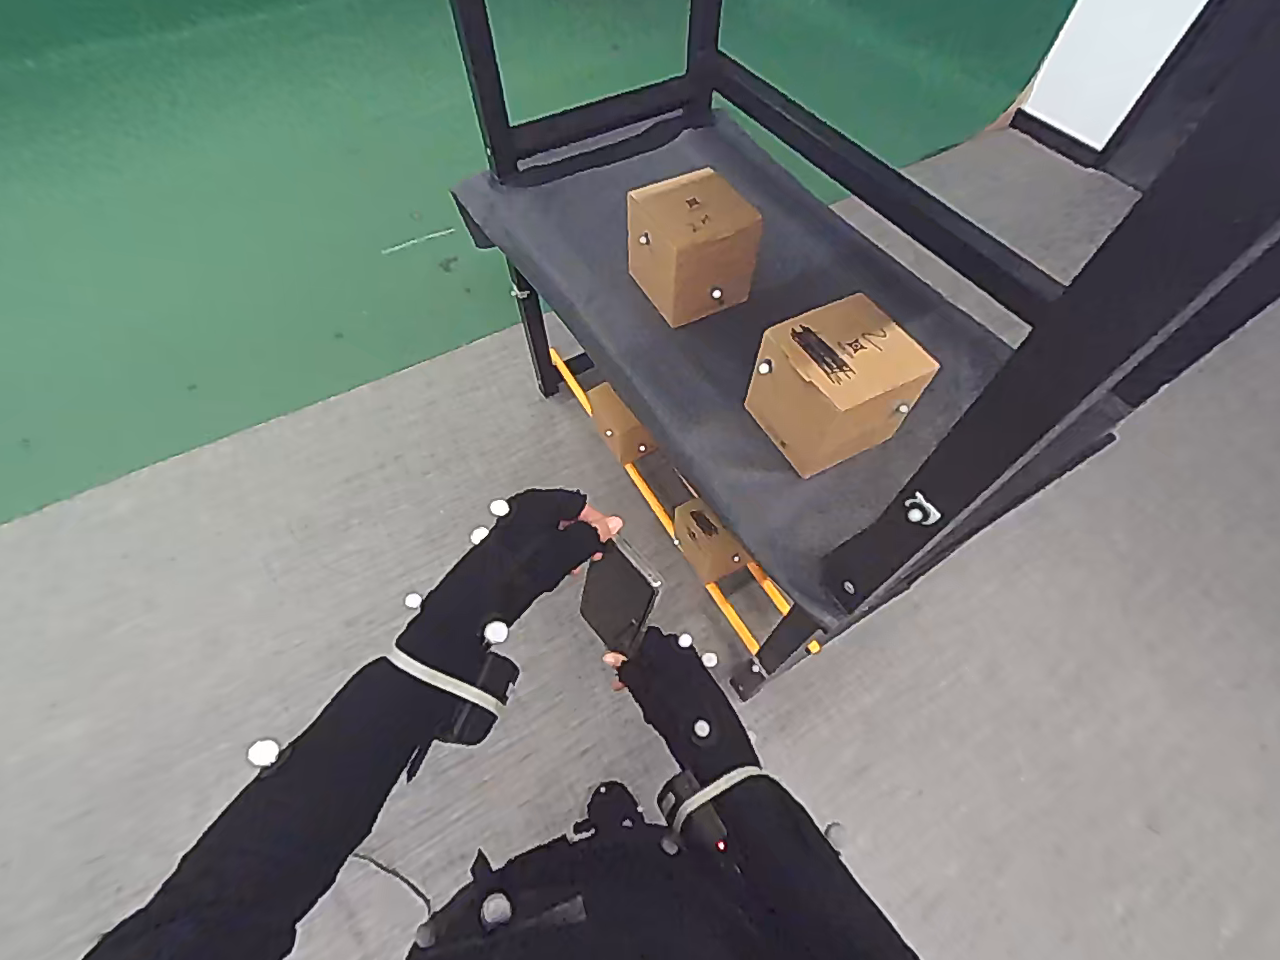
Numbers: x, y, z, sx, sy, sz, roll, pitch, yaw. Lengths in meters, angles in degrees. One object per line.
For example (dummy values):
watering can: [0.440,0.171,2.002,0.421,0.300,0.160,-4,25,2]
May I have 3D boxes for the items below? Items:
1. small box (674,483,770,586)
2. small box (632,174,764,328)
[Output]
small box: [0.200,0.143,1.369,0.179,0.176,0.168,-24,62,-13]
small box: [0.093,-0.409,0.974,0.168,0.176,0.179,-24,62,-14]
